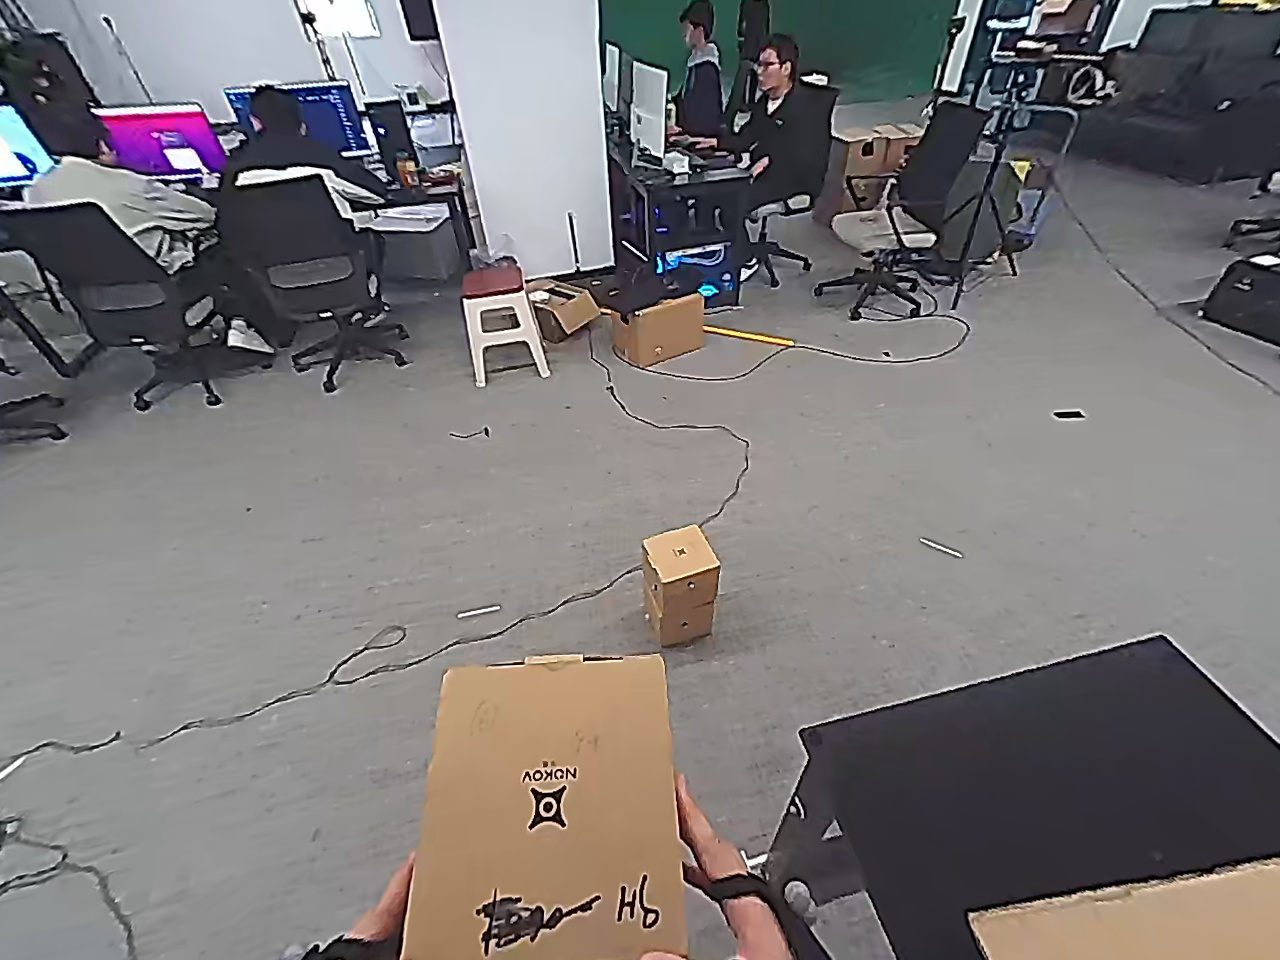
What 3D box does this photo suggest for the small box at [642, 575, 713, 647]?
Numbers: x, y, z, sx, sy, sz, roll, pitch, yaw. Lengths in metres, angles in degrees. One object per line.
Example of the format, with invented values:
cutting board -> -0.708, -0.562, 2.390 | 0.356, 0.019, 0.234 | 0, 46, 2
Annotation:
small box -> 0.114, 0.389, 1.682 | 0.179, 0.176, 0.168 | -14, 43, -11

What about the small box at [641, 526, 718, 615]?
small box -> 0.112, 0.267, 1.575 | 0.179, 0.176, 0.168 | -15, 45, -14

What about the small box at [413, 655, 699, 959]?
small box -> -0.051, 0.254, 0.419 | 0.168, 0.176, 0.179 | -4, 53, -1
